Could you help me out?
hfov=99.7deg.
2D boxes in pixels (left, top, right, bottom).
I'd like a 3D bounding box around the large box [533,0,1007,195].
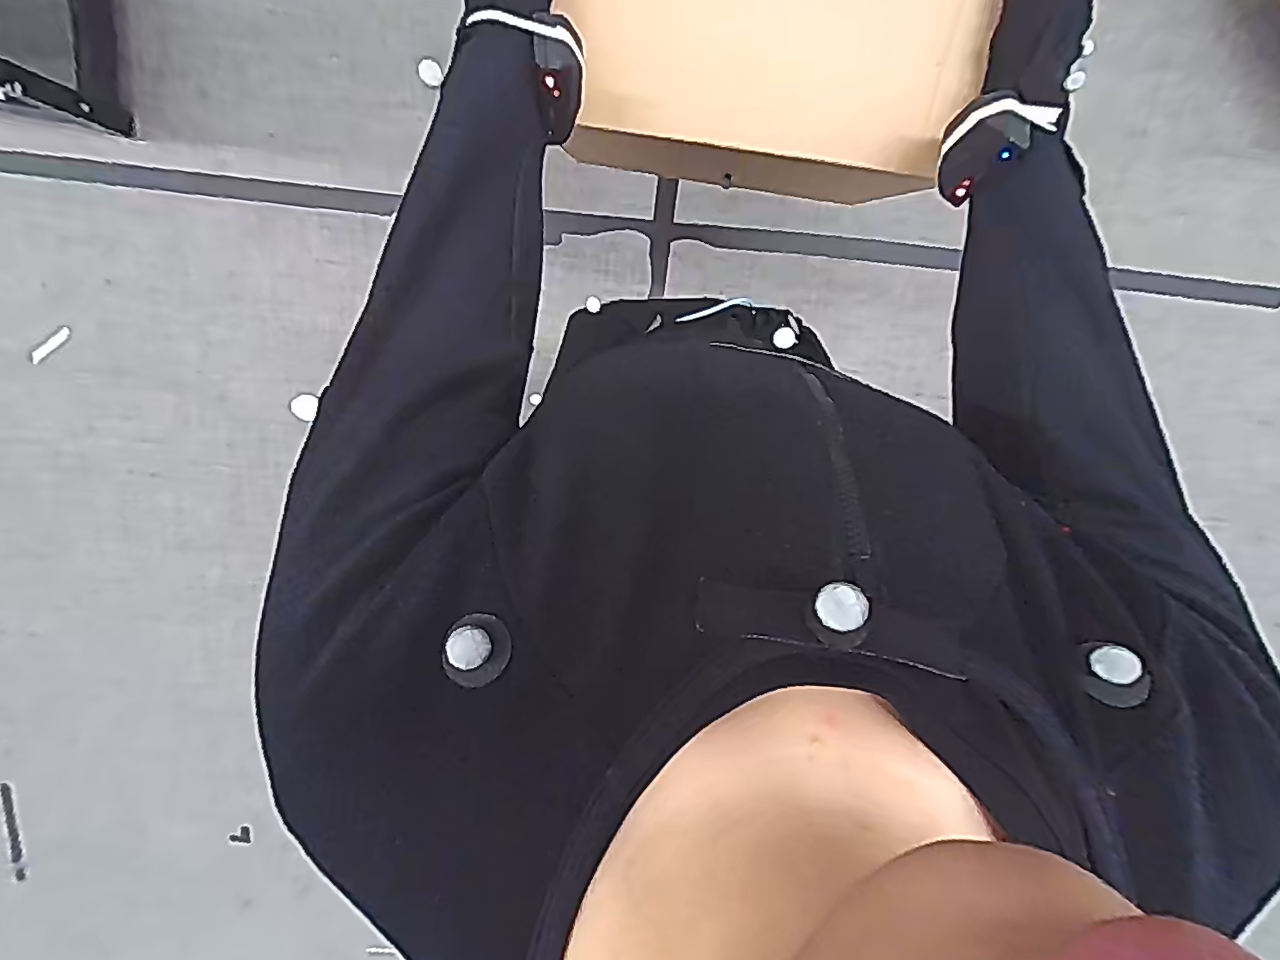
[{"bbox_3d":[0.123,-0.508,0.578,0.408,0.320,0.320,8,113,-2],"label":"large box"}]
